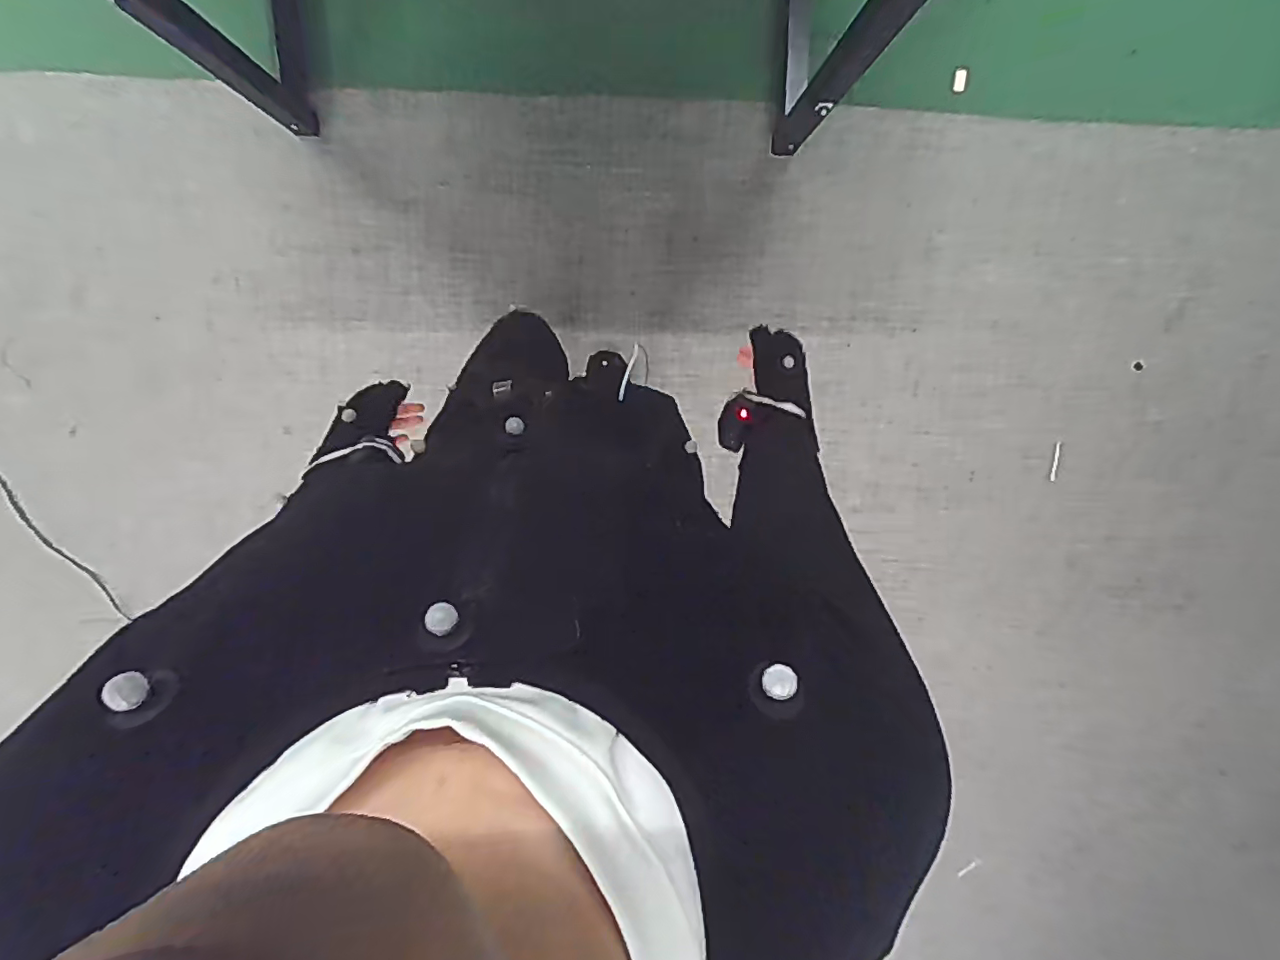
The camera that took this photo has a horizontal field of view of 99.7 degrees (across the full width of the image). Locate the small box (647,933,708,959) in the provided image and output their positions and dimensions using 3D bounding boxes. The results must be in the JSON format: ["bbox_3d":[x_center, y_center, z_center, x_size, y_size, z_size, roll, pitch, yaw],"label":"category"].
[{"bbox_3d":[0.104,1.478,1.569,0.168,0.176,0.179,29,99,-9],"label":"small box"}]

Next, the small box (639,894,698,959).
[{"bbox_3d":[0.088,1.463,1.716,0.179,0.176,0.168,-5,103,-3],"label":"small box"}]
